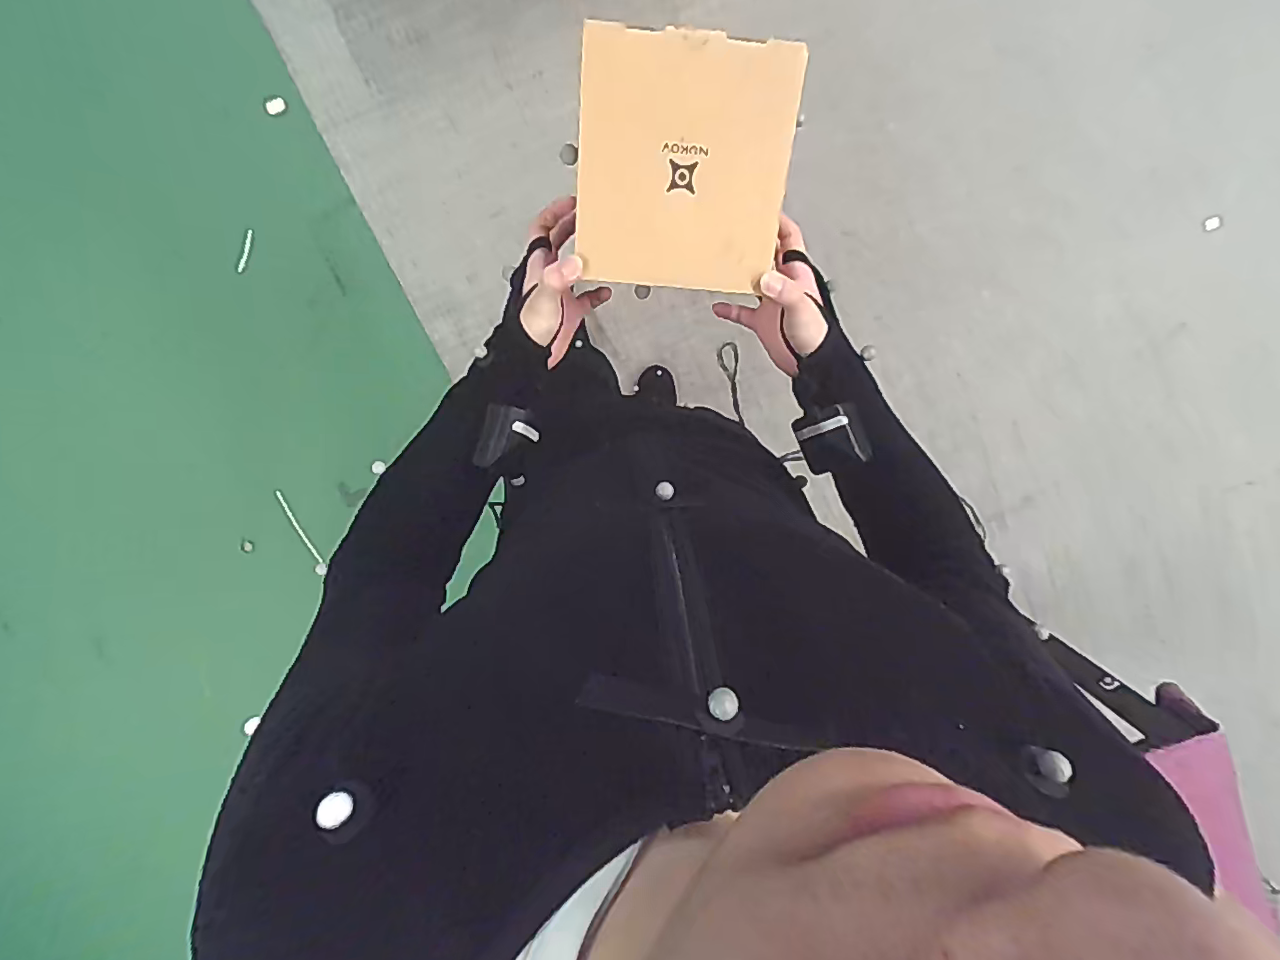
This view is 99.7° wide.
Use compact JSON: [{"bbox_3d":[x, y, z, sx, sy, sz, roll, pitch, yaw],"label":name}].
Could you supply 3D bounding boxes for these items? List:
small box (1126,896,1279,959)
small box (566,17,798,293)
[{"bbox_3d":[0.913,0.793,0.837,0.168,0.176,0.179,-25,102,6],"label":"small box"},{"bbox_3d":[0.027,-0.275,0.495,0.168,0.176,0.179,4,112,-2],"label":"small box"}]
